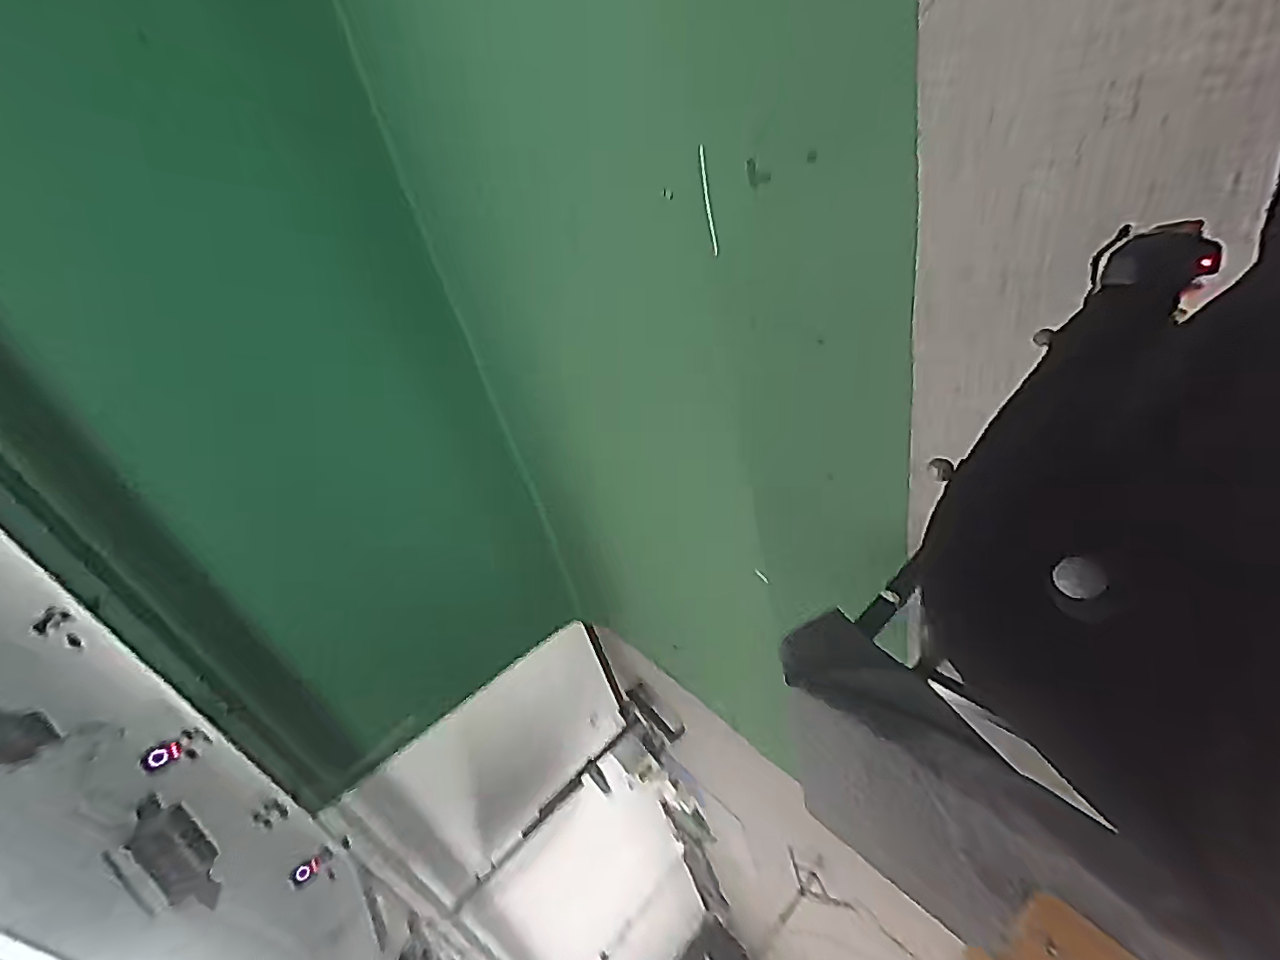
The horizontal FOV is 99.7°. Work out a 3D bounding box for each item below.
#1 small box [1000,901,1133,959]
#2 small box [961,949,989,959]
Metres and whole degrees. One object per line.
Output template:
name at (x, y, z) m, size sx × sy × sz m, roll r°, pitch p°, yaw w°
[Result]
small box at (0.751, 0.888, 0.948) m, size 0.179 × 0.176 × 0.168 m, roll 29°, pitch 143°, yaw 41°
small box at (0.600, 0.971, 0.928) m, size 0.168 × 0.176 × 0.179 m, roll 29°, pitch 143°, yaw 43°
